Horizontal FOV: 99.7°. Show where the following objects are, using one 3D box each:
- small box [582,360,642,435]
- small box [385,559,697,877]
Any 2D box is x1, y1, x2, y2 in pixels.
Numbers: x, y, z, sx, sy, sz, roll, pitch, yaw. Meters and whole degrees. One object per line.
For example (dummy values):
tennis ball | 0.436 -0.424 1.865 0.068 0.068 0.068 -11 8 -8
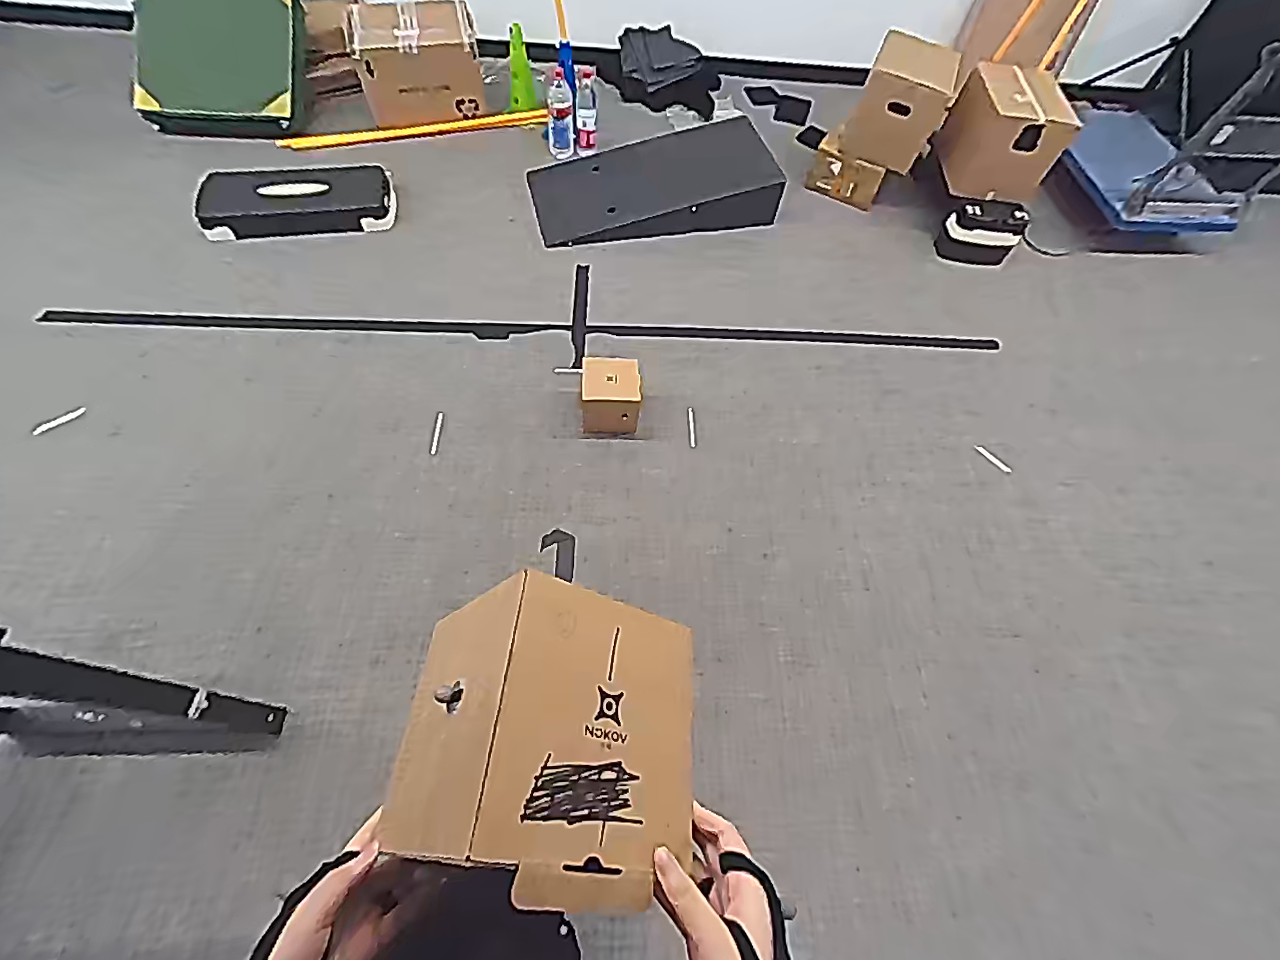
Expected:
small box | -0.091 -0.253 1.689 0.179 0.176 0.168 1 60 -5
small box | -0.074 0.192 0.423 0.168 0.176 0.179 29 47 -29
